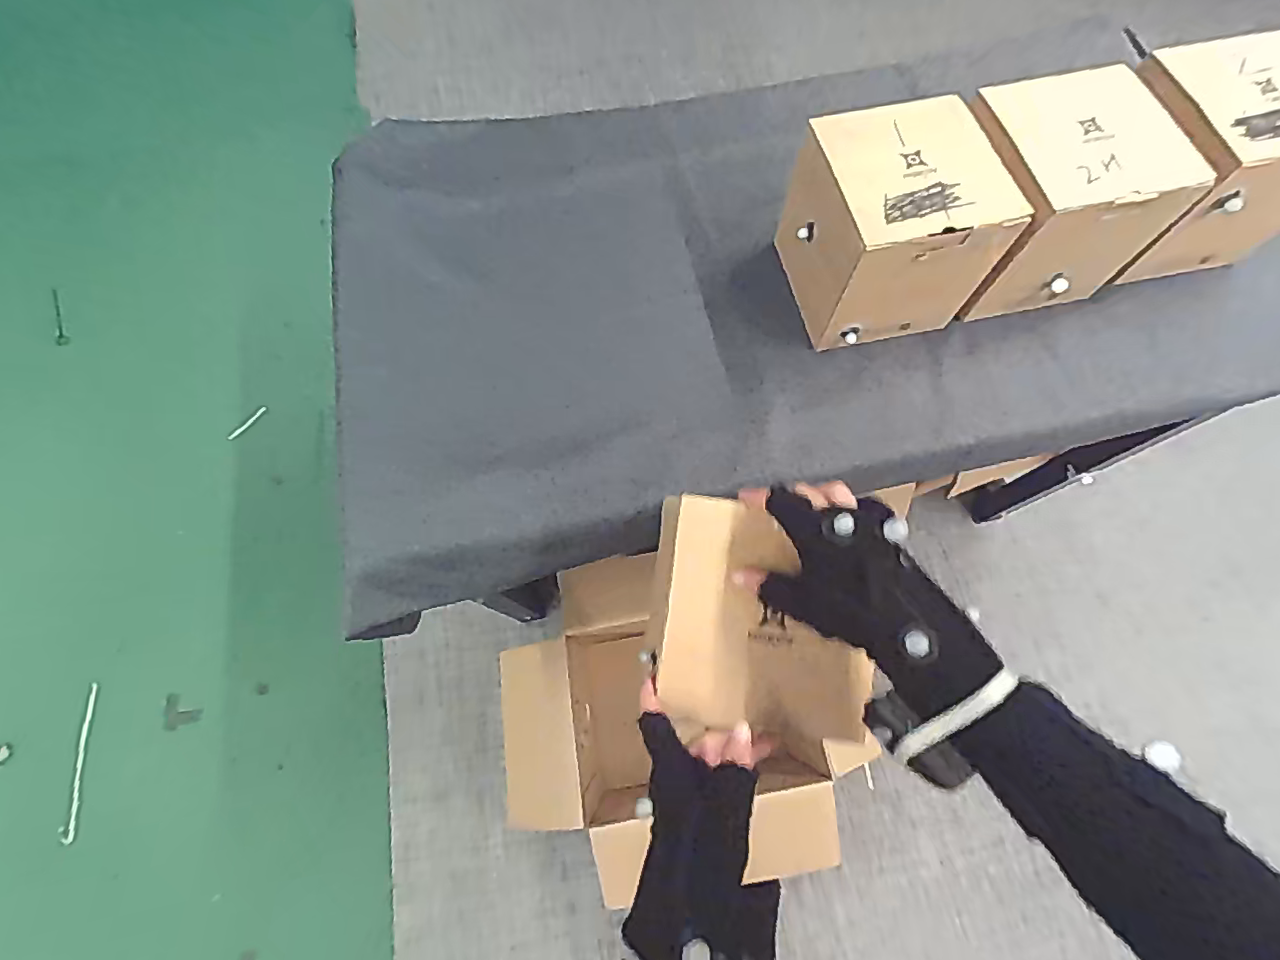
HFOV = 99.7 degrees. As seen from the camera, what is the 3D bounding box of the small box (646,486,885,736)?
[{"bbox_3d":[0.097,0.102,0.491,0.168,0.176,0.179,7,89,-1],"label":"small box"}]
